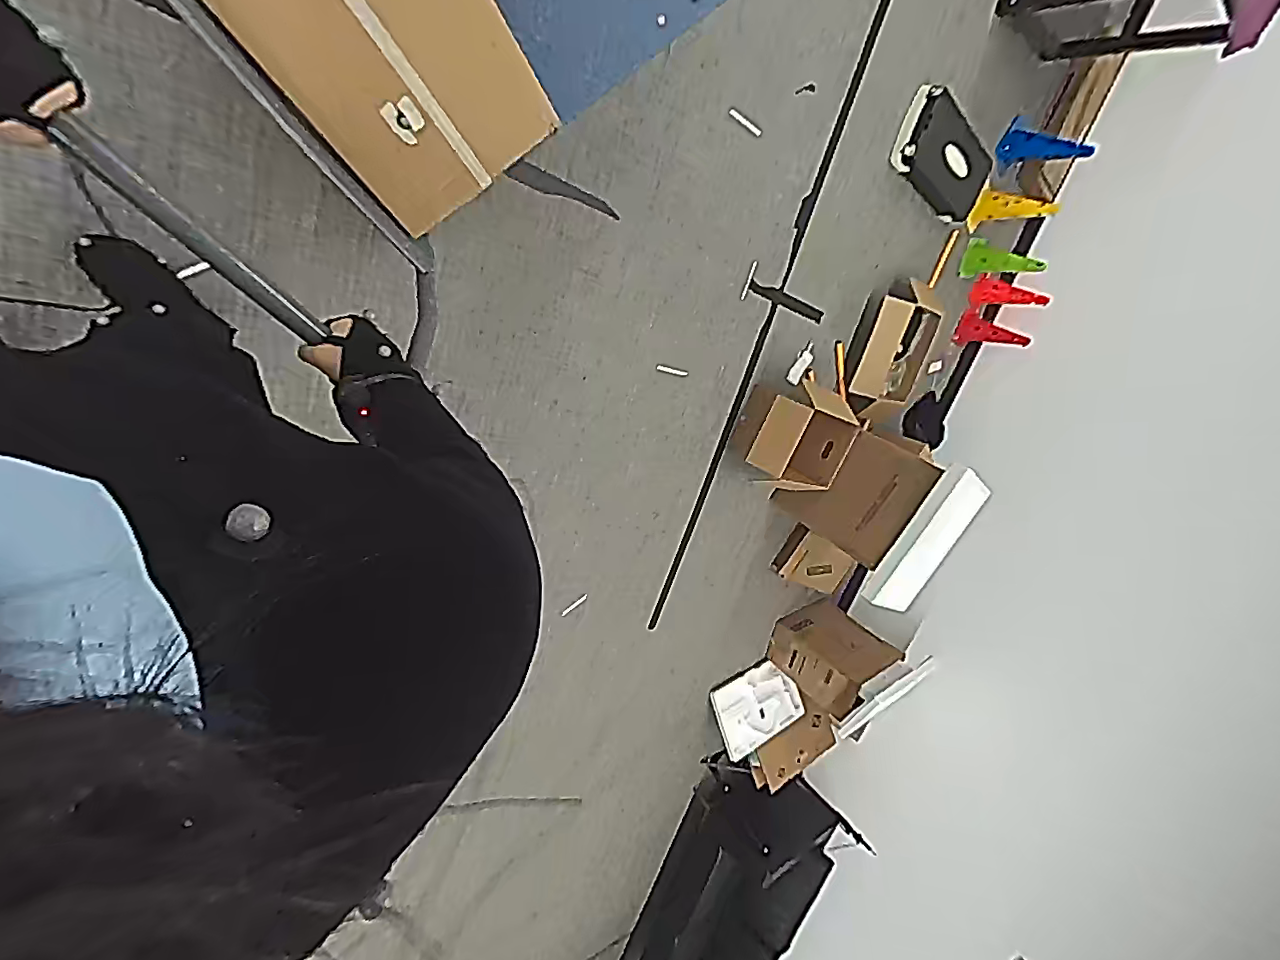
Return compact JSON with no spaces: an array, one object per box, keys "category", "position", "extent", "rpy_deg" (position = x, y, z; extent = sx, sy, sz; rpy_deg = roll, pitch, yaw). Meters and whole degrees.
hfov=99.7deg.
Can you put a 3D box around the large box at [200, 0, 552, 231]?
[{"category":"large box","position":[-0.412,-0.706,0.867],"extent":[0.320,0.320,0.408],"rpy_deg":[-33,138,6]}]
